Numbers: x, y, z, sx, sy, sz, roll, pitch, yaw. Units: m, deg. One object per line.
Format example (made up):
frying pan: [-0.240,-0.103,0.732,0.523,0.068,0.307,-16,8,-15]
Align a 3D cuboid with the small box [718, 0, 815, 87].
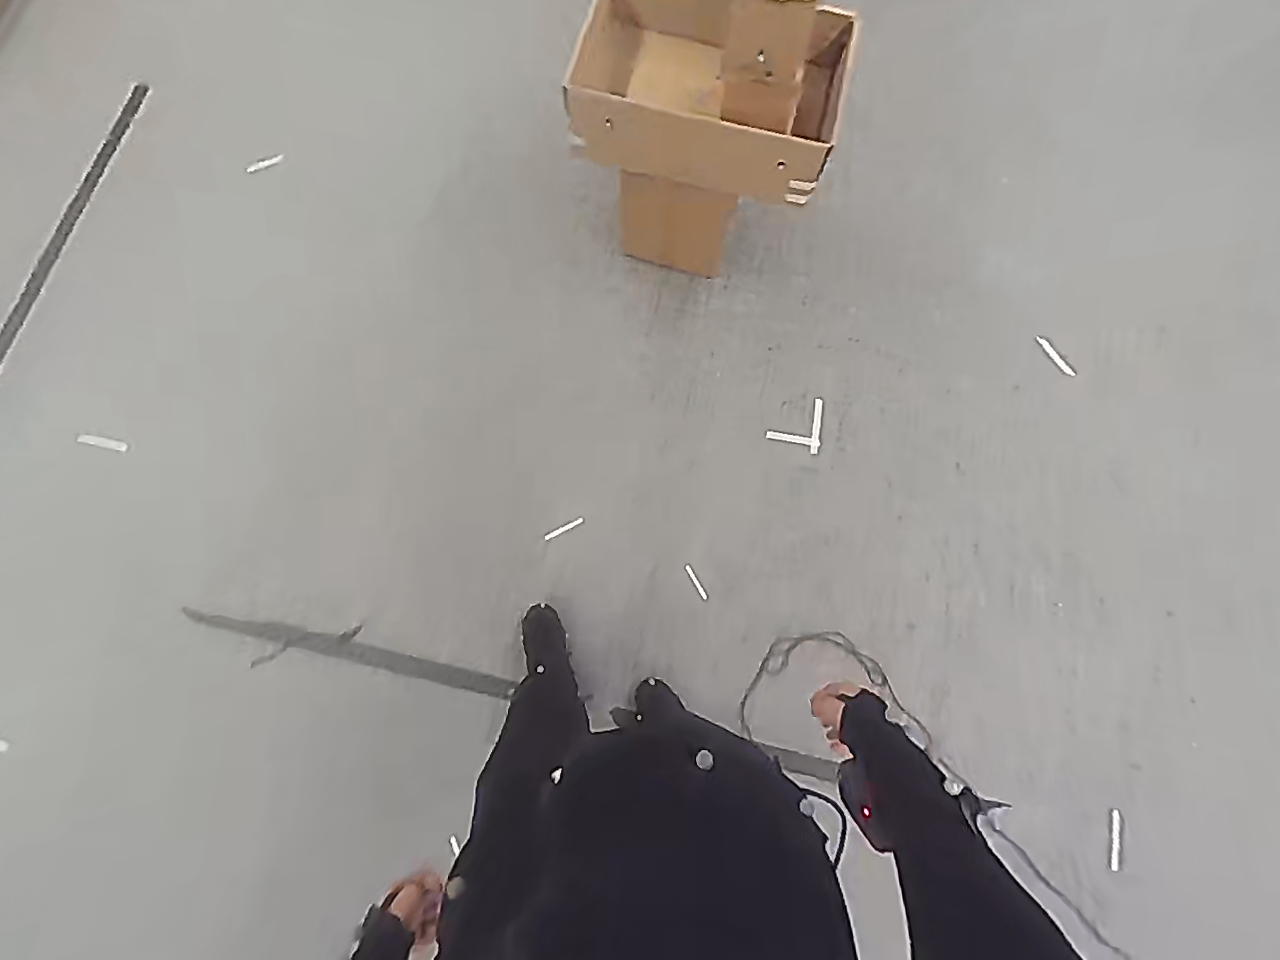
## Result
small box: [0.262,-0.961,1.107,0.168,0.176,0.179,12,77,3]
